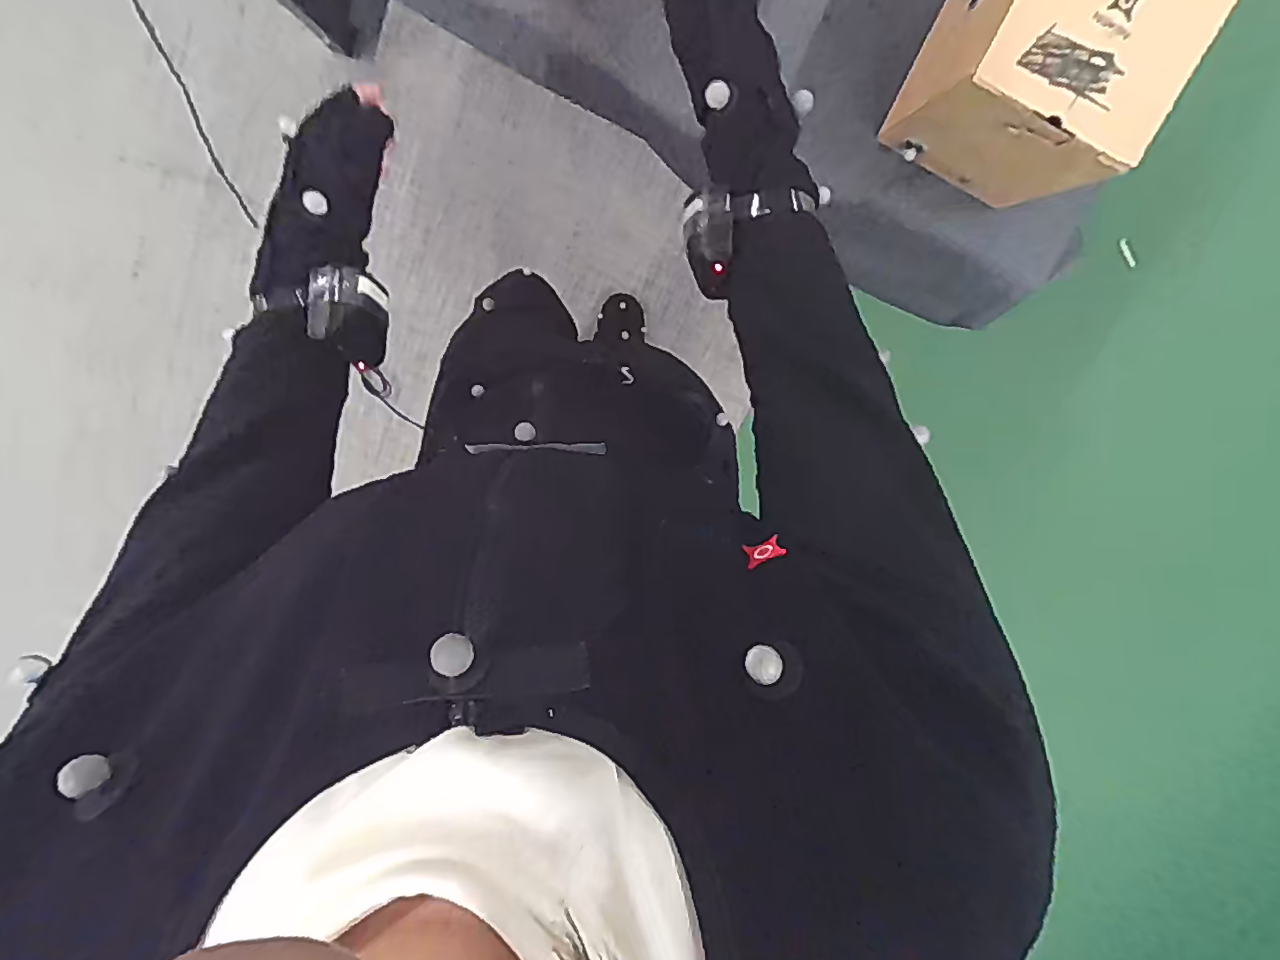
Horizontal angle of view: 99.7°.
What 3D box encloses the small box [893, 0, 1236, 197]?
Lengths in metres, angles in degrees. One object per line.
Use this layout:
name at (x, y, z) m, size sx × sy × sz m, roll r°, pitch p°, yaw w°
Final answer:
small box at (0.367, -0.391, 0.495) m, size 0.168 × 0.176 × 0.179 m, roll 22°, pitch 104°, yaw -10°
